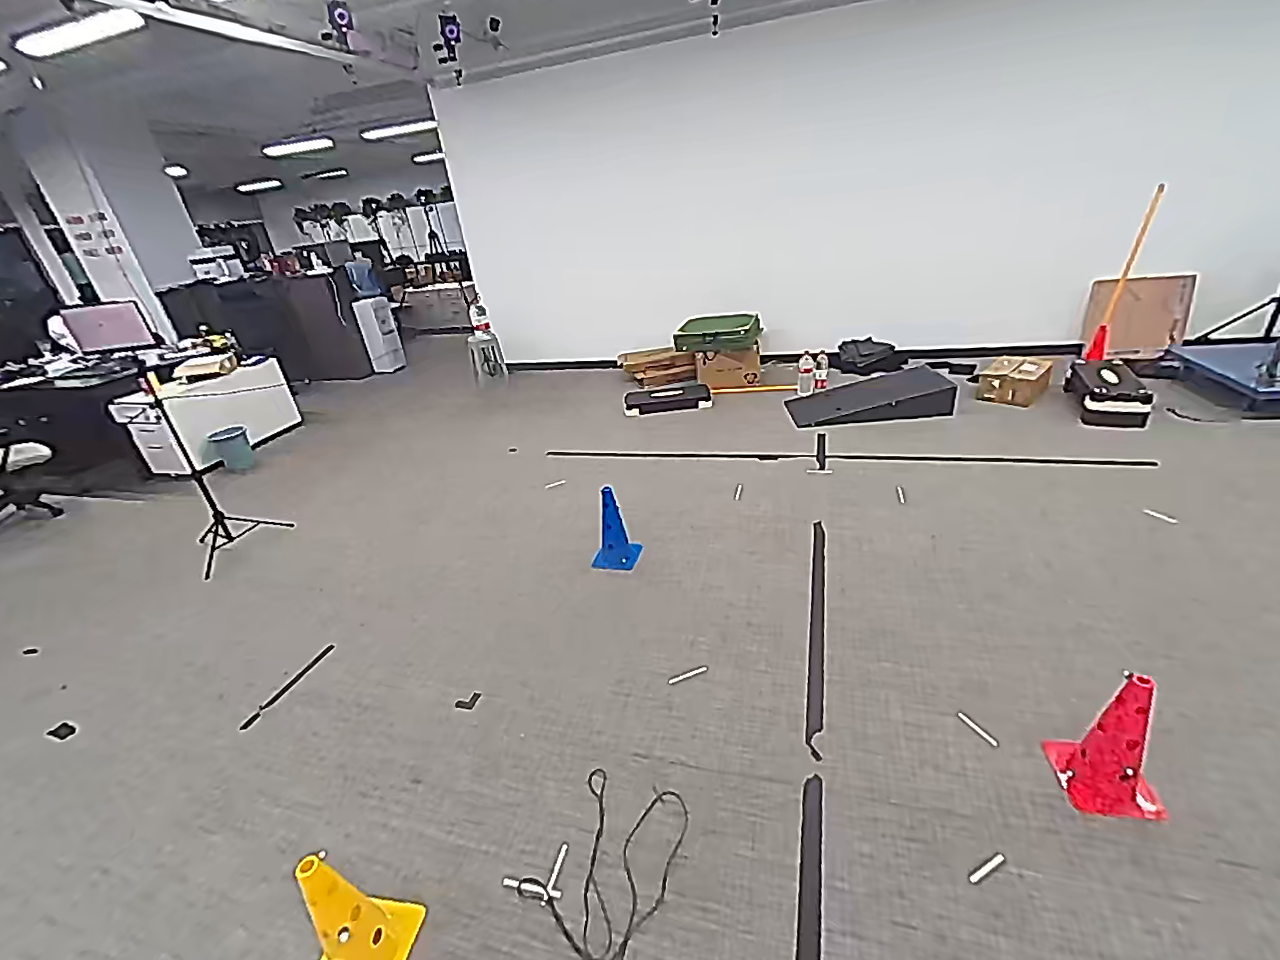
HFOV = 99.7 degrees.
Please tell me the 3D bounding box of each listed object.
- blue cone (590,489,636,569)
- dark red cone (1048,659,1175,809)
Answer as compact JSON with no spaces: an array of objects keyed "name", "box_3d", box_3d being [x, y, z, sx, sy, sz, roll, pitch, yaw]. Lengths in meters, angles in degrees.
[{"name":"blue cone","box_3d":[-0.142,0.210,2.420,0.192,0.380,0.193,1,28,19]},{"name":"dark red cone","box_3d":[1.160,0.583,1.295,0.201,0.394,0.202,-3,27,11]}]
